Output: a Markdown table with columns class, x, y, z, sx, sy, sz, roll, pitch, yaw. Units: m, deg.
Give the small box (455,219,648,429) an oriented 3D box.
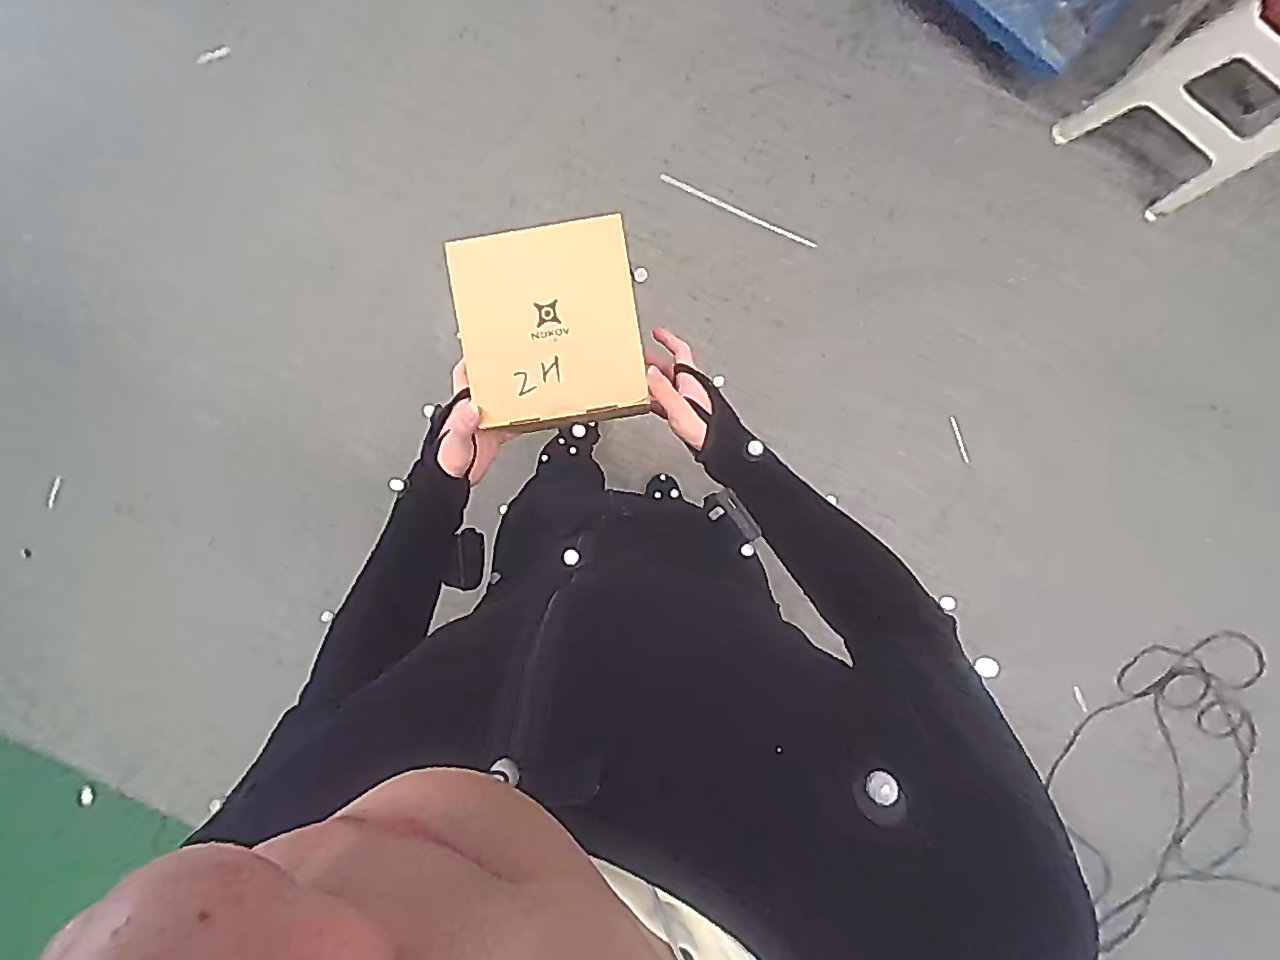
| class | x | y | z | sx | sy | sz | roll | pitch | yaw |
| --- | --- | --- | --- | --- | --- | --- | --- | --- | --- |
| small box | -0.084 | -0.154 | 0.589 | 0.168 | 0.176 | 0.179 | -7 | 94 | 1 |
